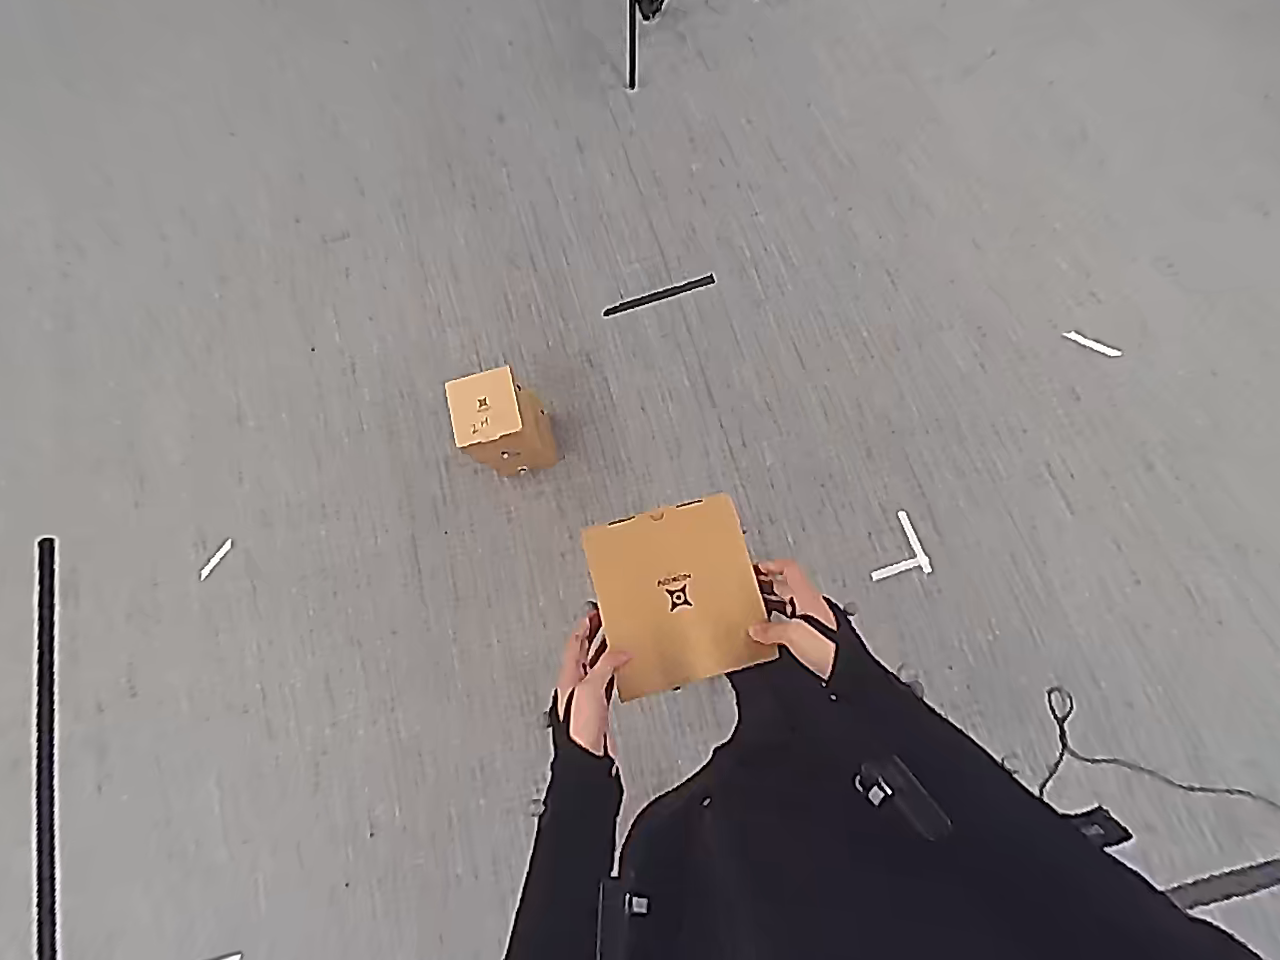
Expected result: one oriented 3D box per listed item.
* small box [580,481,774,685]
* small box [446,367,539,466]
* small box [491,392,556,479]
[{"bbox_3d":[0.034,0.116,0.625,0.168,0.176,0.179,-14,78,-5],"label":"small box"},{"bbox_3d":[-0.367,-0.154,1.364,0.168,0.176,0.179,-15,76,2],"label":"small box"},{"bbox_3d":[-0.348,-0.120,1.524,0.168,0.176,0.179,-14,75,2],"label":"small box"}]
